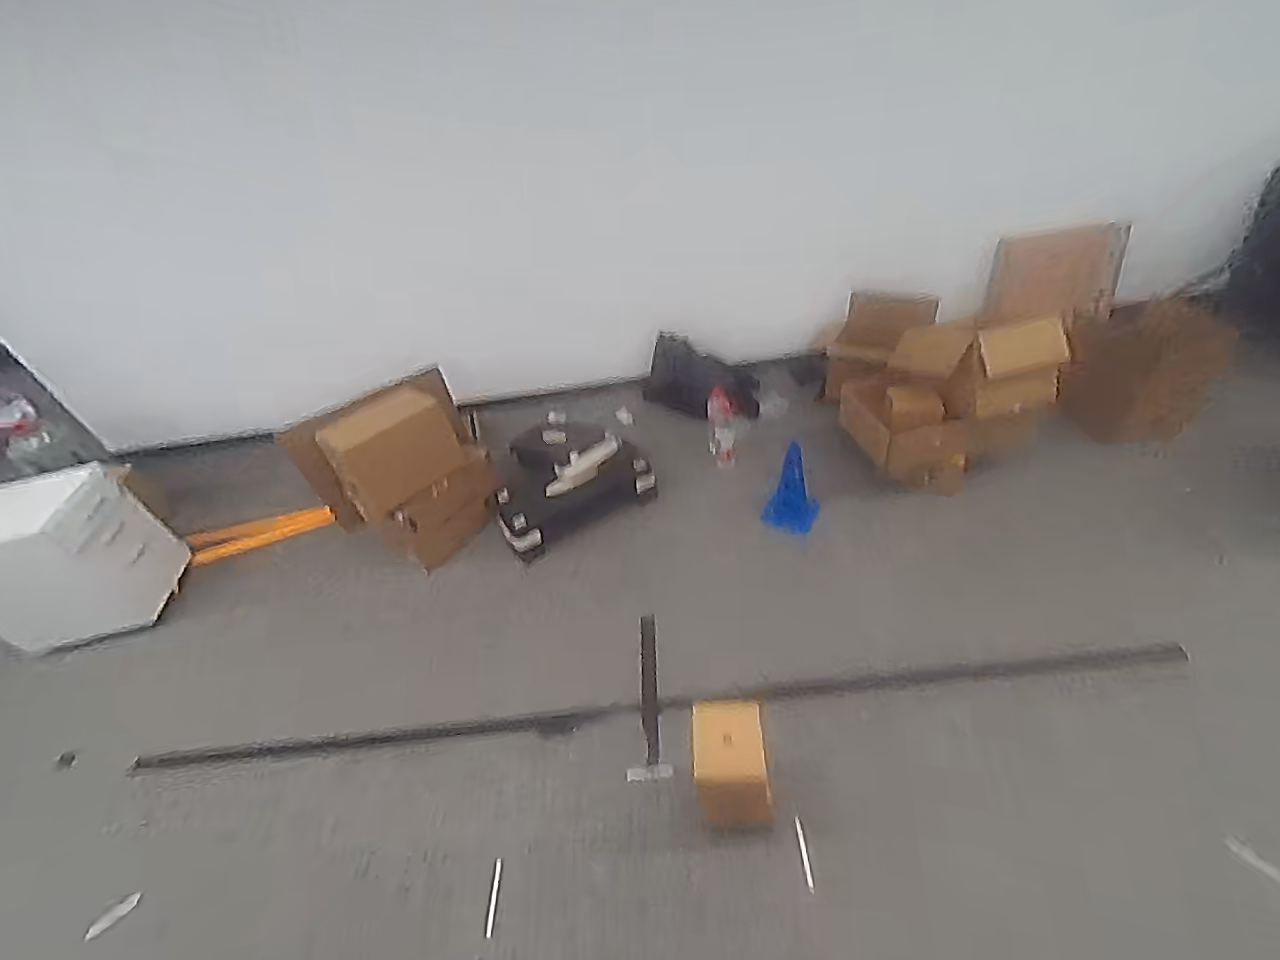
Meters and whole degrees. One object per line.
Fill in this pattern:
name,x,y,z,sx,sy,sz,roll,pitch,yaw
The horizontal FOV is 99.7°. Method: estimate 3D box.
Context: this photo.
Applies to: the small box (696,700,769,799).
small box,0.225,0.669,1.343,0.168,0.176,0.179,-4,43,7
